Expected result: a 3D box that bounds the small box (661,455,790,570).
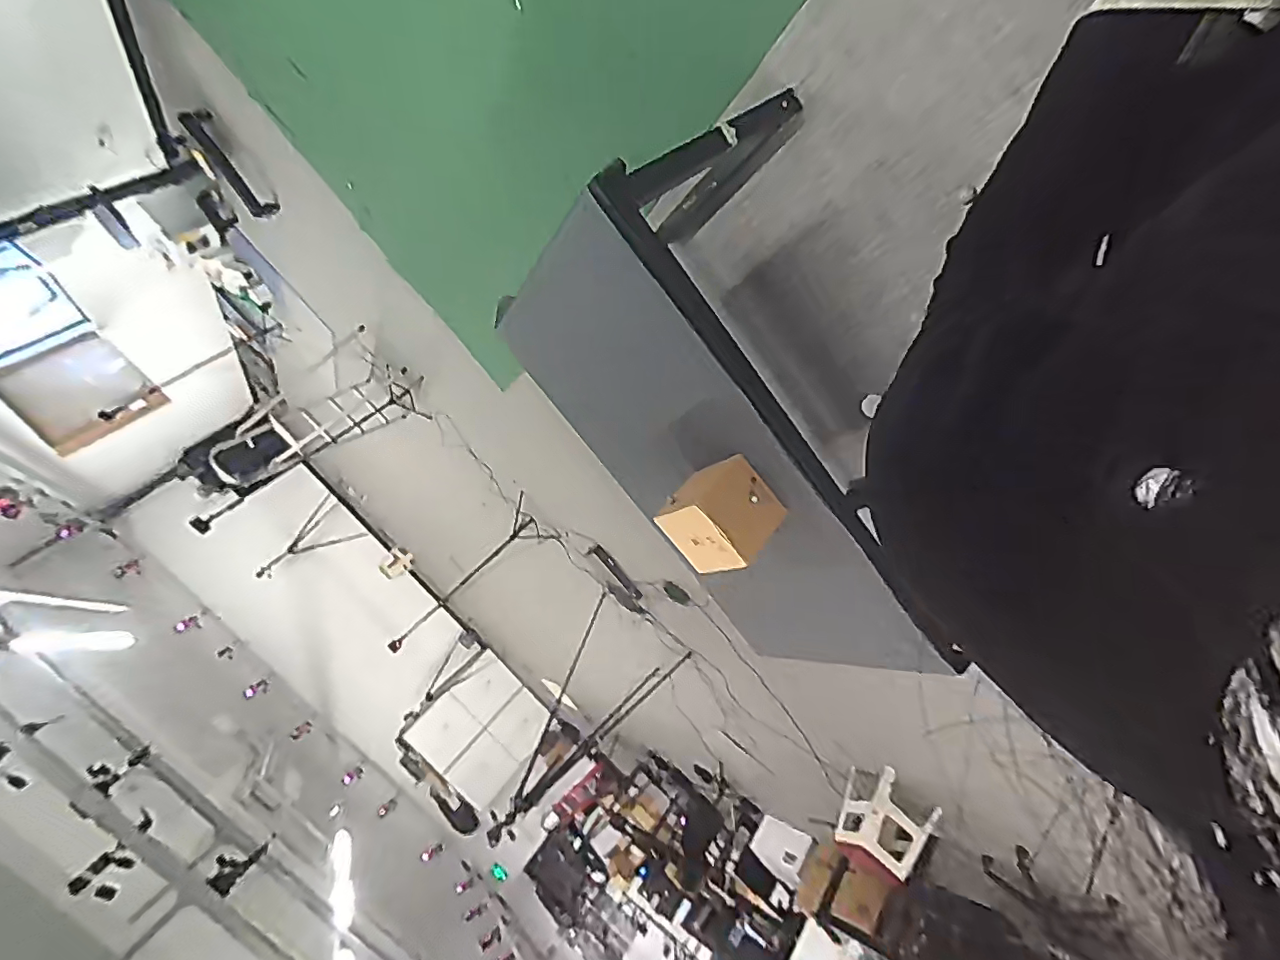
[{"bbox_3d":[0.185,0.072,1.161,0.168,0.176,0.179,49,150,-9],"label":"small box"}]
